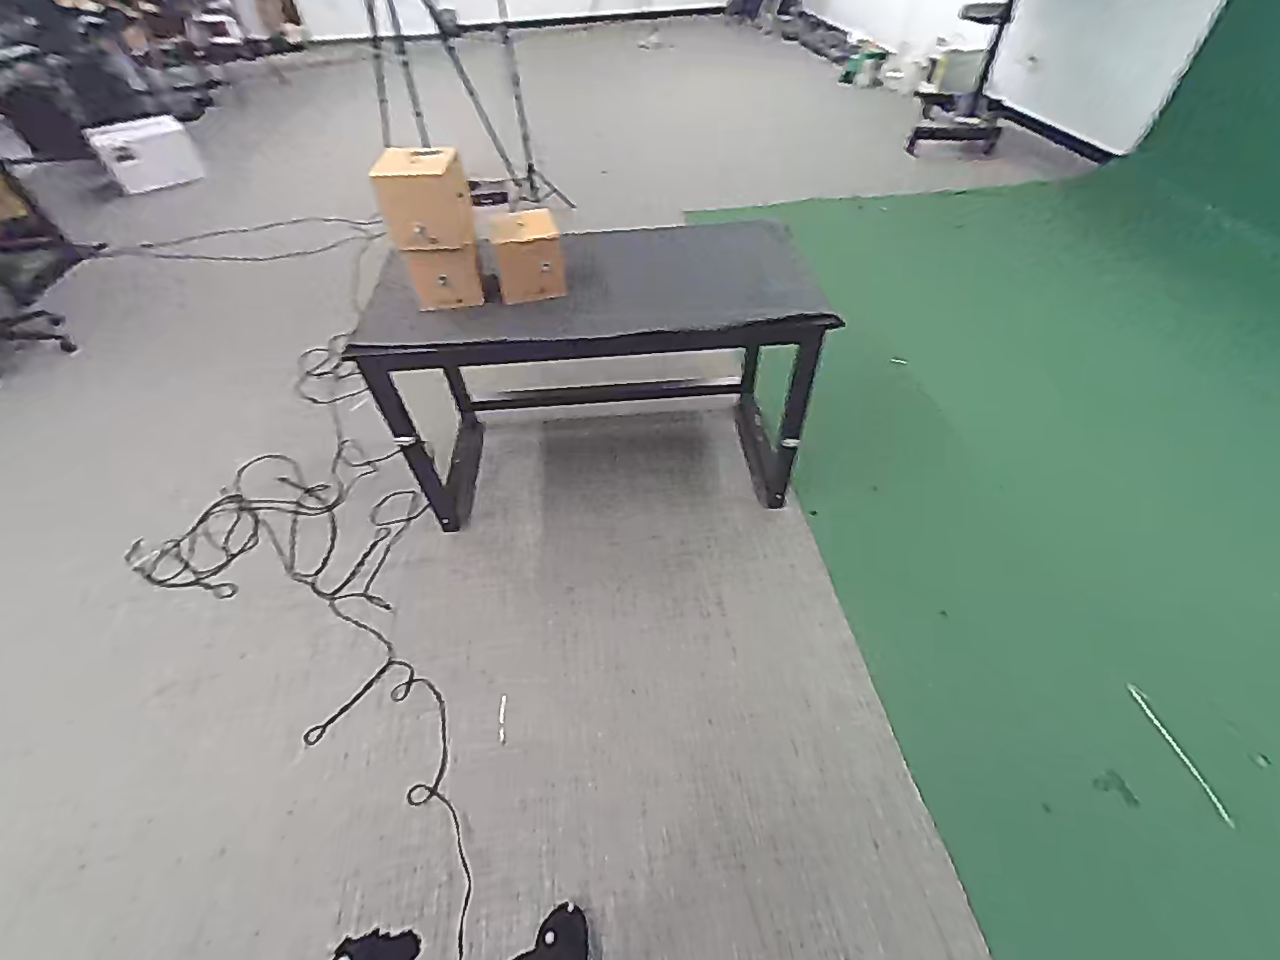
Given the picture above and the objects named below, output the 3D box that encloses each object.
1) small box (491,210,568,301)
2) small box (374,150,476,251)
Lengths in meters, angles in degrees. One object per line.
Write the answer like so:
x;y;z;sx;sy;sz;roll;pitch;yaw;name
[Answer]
-0.291;-0.590;1.435;0.168;0.176;0.179;-11;48;-9;small box
-0.499;-0.666;1.288;0.168;0.176;0.179;-2;48;0;small box
